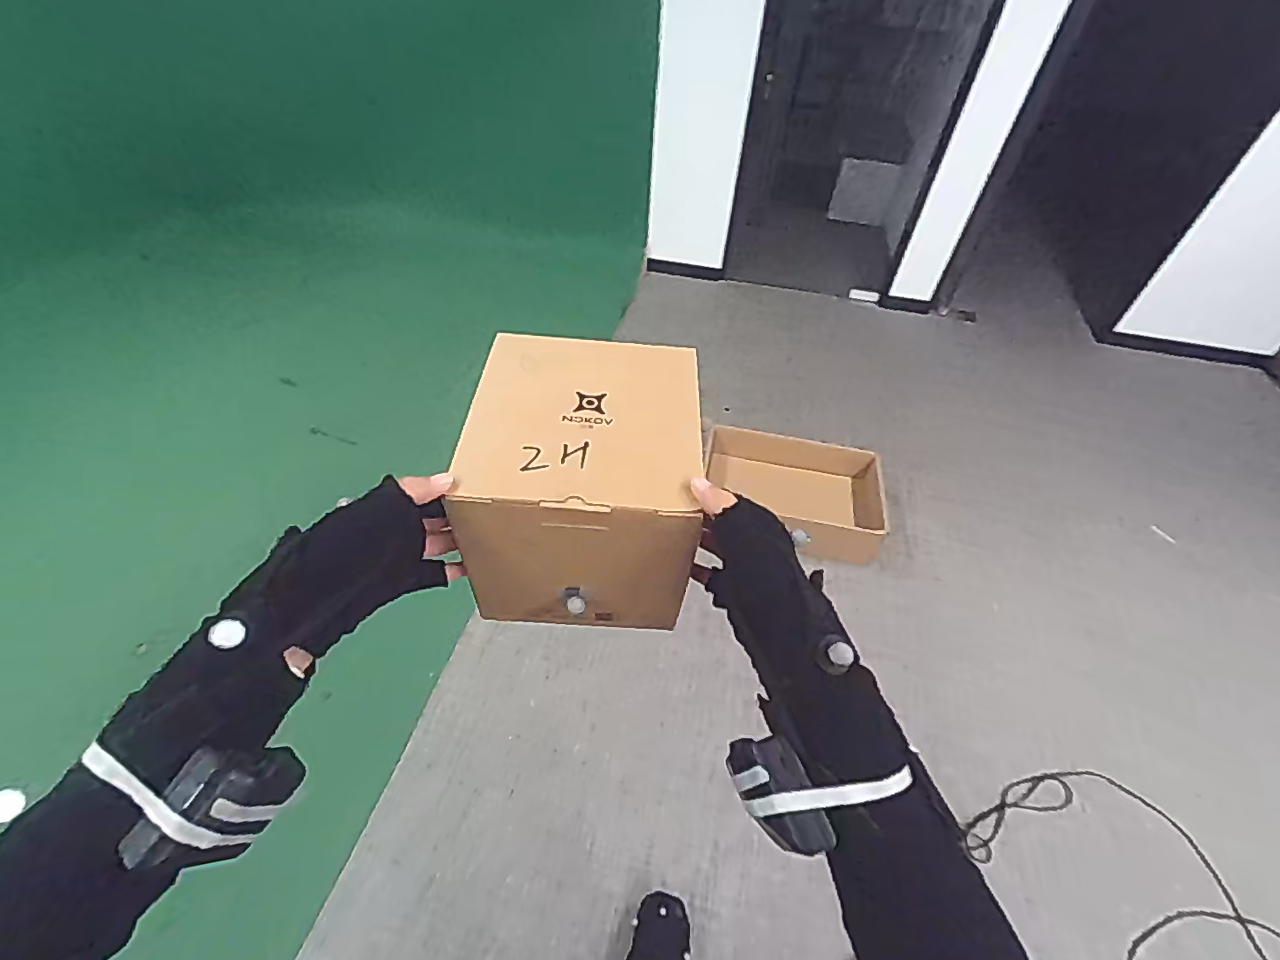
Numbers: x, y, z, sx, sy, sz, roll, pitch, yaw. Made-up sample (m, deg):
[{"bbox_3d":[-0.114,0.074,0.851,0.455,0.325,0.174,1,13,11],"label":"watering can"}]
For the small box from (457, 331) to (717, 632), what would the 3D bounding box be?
[{"bbox_3d":[-0.035,0.003,0.448,0.168,0.176,0.179,5,49,-1],"label":"small box"}]
